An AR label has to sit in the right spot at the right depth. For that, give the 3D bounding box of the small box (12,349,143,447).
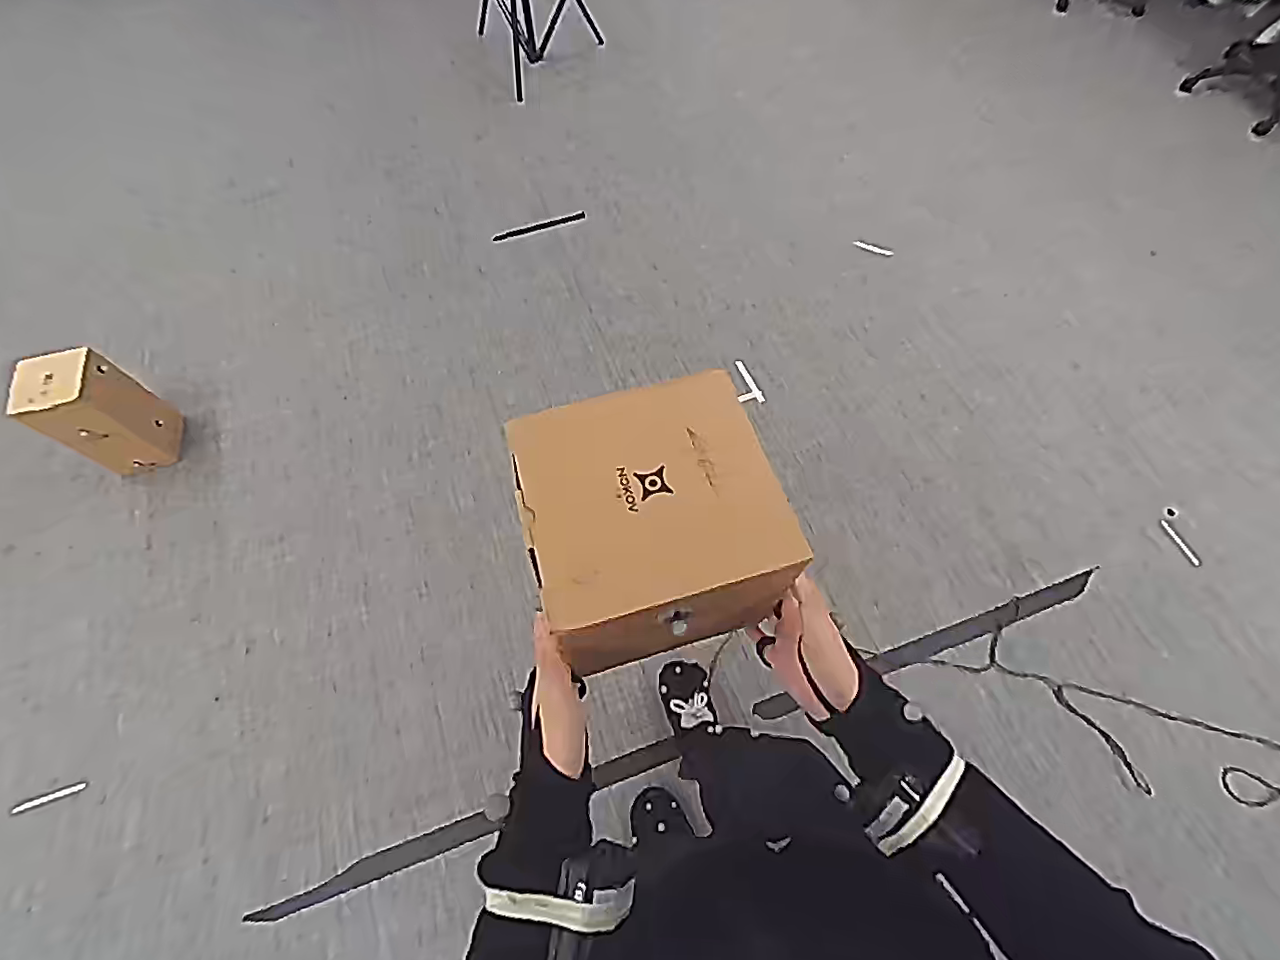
[{"bbox_3d":[-1.473,-0.213,1.431,0.168,0.176,0.179,-15,66,-7],"label":"small box"}]

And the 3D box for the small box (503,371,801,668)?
[{"bbox_3d":[0.002,0.042,0.446,0.179,0.176,0.168,-14,63,-9],"label":"small box"}]
